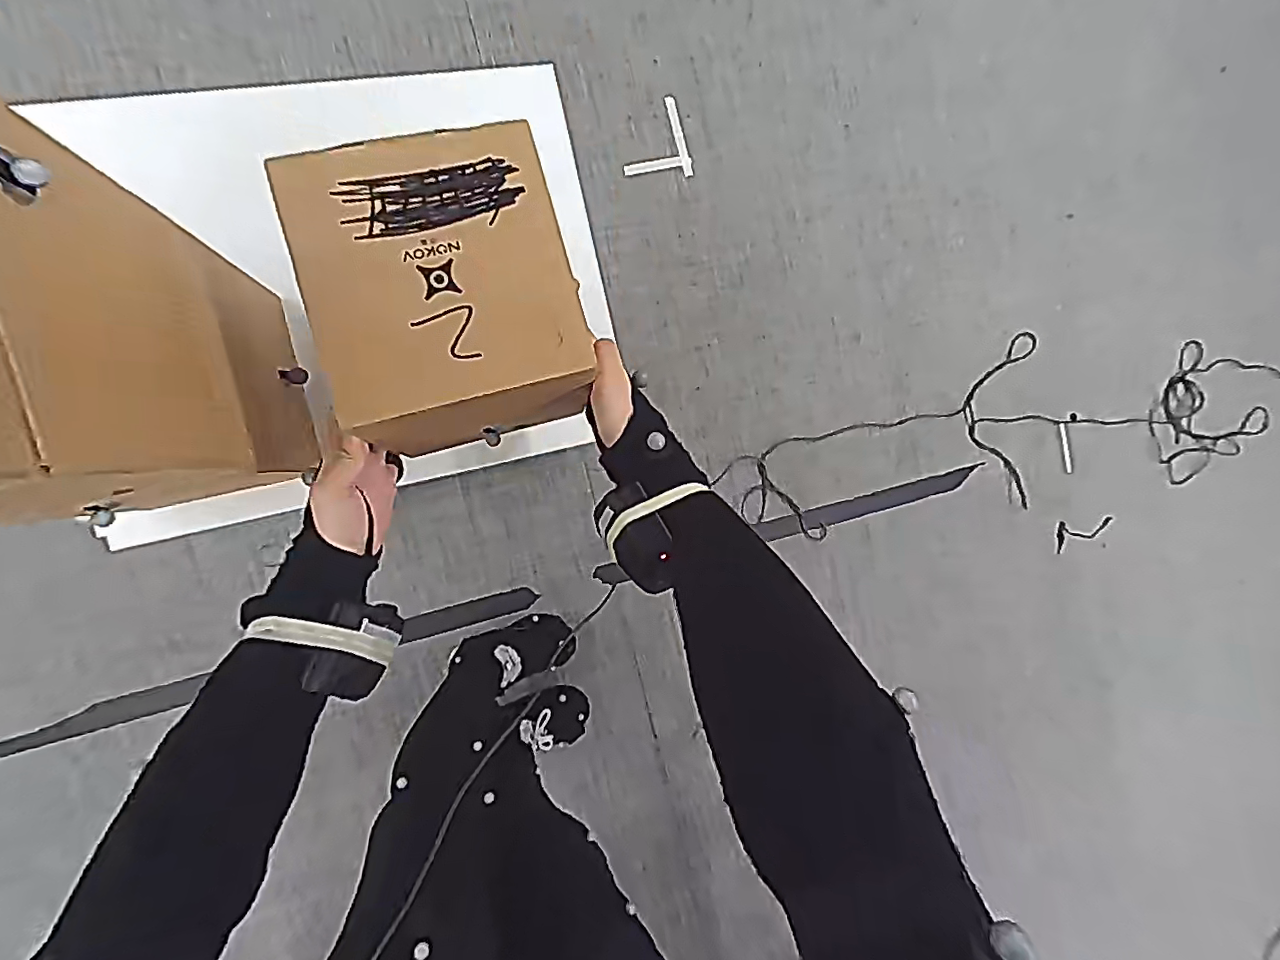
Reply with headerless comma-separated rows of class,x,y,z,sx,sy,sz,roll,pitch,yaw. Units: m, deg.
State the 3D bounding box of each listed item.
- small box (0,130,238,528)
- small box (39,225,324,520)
small box,-0.345,-0.064,0.268,0.168,0.176,0.179,-15,94,-12
small box,-0.381,-0.069,0.425,0.168,0.176,0.179,-13,93,-11
